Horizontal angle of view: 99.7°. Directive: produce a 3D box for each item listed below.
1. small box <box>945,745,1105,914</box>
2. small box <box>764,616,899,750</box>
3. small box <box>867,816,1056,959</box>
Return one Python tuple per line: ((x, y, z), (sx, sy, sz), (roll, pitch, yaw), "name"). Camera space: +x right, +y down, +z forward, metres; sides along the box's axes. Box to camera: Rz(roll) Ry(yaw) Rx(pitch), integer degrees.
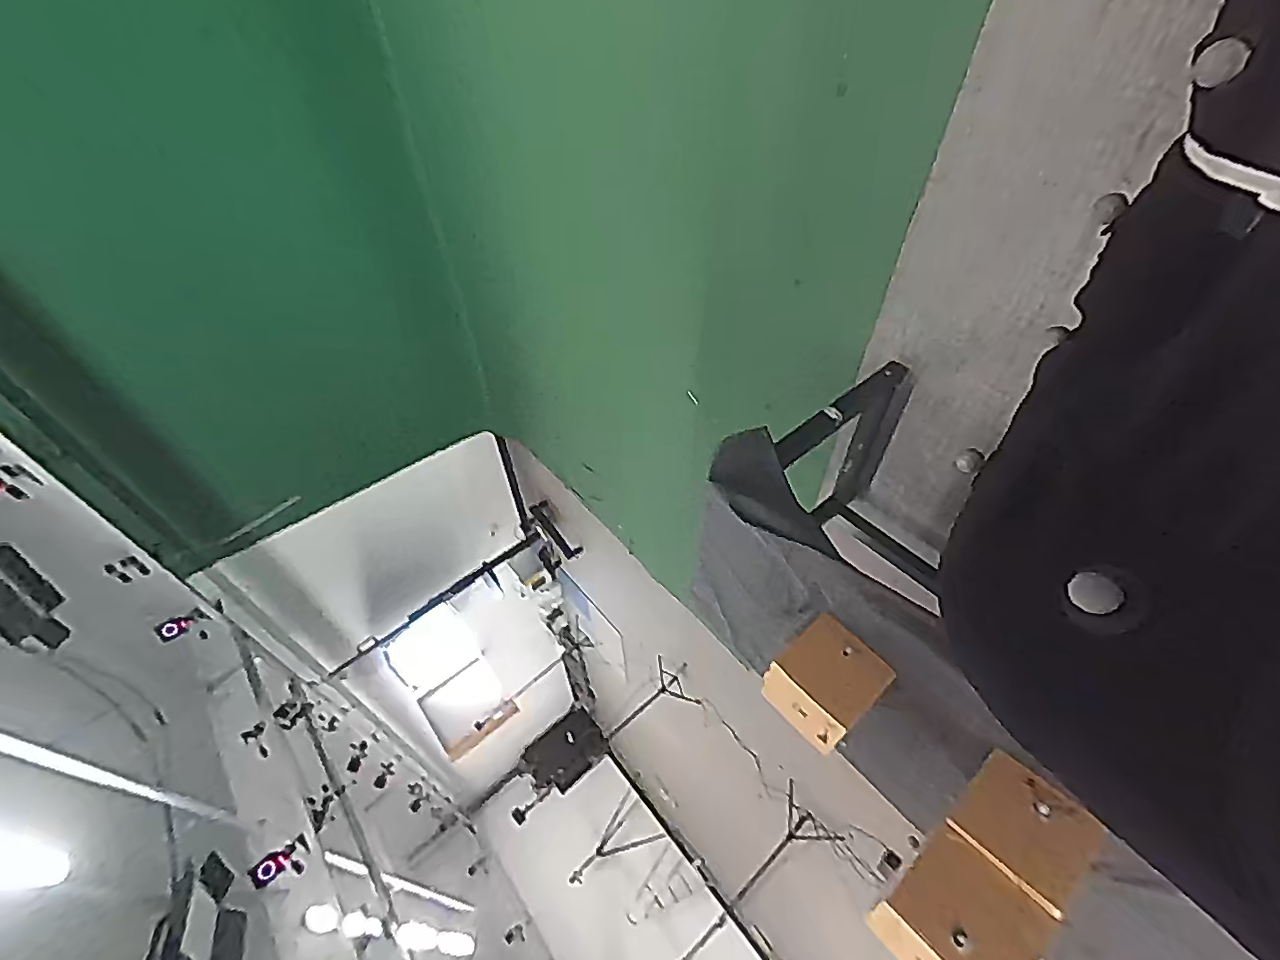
((0.620, 0.587, 0.896), (0.168, 0.176, 0.179), (34, 146, 40), "small box")
((0.386, 0.405, 1.108), (0.179, 0.176, 0.168), (42, 151, 31), "small box")
((0.494, 0.675, 0.841), (0.179, 0.176, 0.168), (38, 148, 37), "small box")
